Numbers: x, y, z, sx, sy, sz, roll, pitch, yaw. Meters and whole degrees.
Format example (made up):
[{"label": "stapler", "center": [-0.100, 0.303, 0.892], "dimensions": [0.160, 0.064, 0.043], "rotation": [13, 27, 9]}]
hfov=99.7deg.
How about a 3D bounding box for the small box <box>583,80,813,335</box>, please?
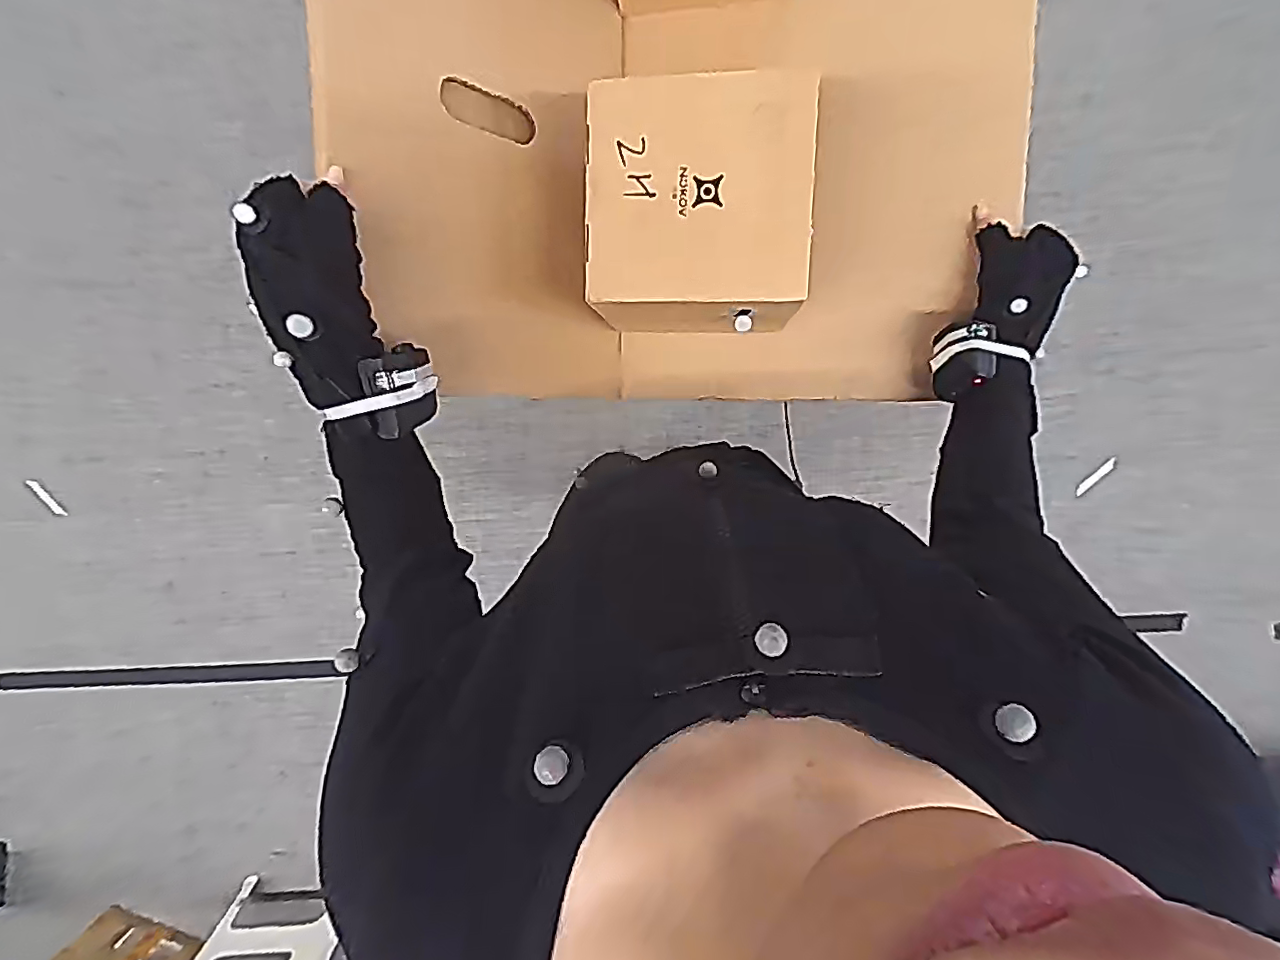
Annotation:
[{"label": "small box", "center": [0.051, -0.233, 0.503], "dimensions": [0.179, 0.176, 0.168], "rotation": [2, 96, 8]}]
